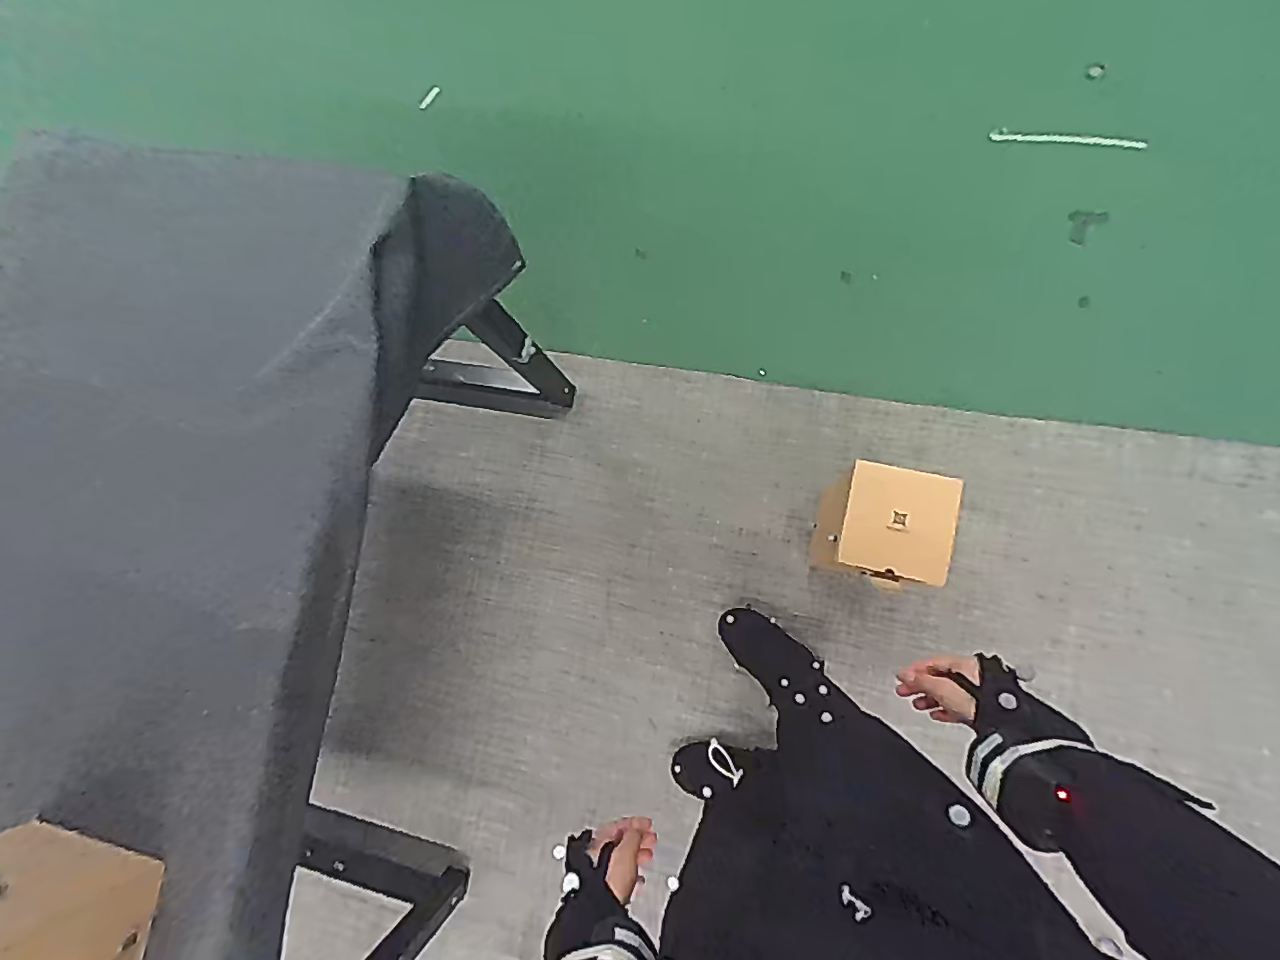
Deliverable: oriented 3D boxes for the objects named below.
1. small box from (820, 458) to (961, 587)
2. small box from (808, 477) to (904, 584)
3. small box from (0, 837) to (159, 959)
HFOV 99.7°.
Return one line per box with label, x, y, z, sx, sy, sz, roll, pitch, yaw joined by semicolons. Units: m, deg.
small box;0.418;0.076;0.929;0.168;0.176;0.179;12;84;10
small box;0.441;0.102;1.090;0.168;0.176;0.179;10;84;11
small box;-0.578;0.440;0.457;0.179;0.176;0.168;8;83;10
